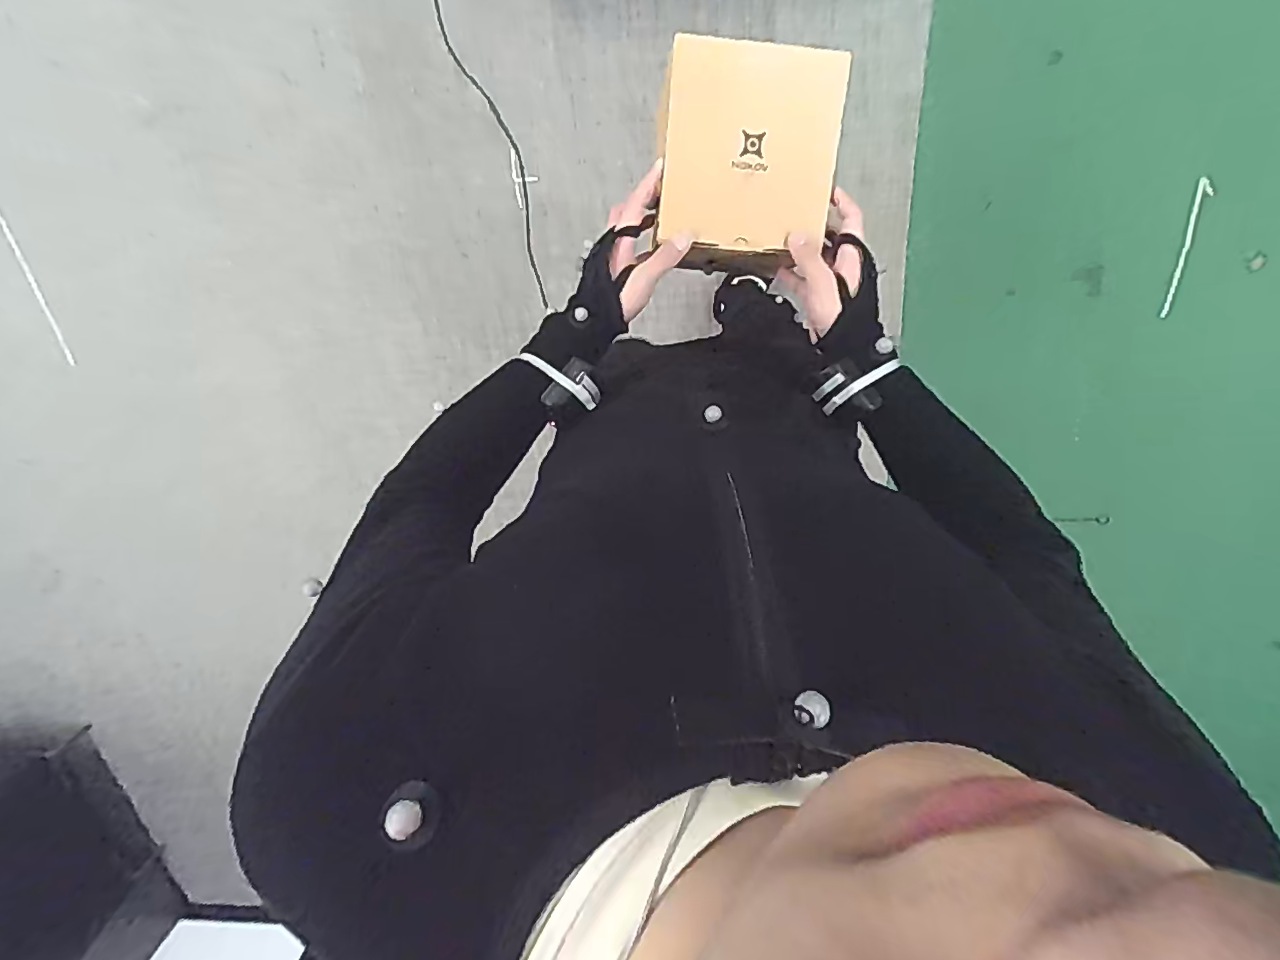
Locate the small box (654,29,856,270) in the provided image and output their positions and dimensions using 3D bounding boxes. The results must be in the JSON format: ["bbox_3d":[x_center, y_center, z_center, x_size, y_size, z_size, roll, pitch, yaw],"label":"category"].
[{"bbox_3d":[0.107,-0.336,0.587,0.168,0.176,0.179,3,106,-4],"label":"small box"}]
